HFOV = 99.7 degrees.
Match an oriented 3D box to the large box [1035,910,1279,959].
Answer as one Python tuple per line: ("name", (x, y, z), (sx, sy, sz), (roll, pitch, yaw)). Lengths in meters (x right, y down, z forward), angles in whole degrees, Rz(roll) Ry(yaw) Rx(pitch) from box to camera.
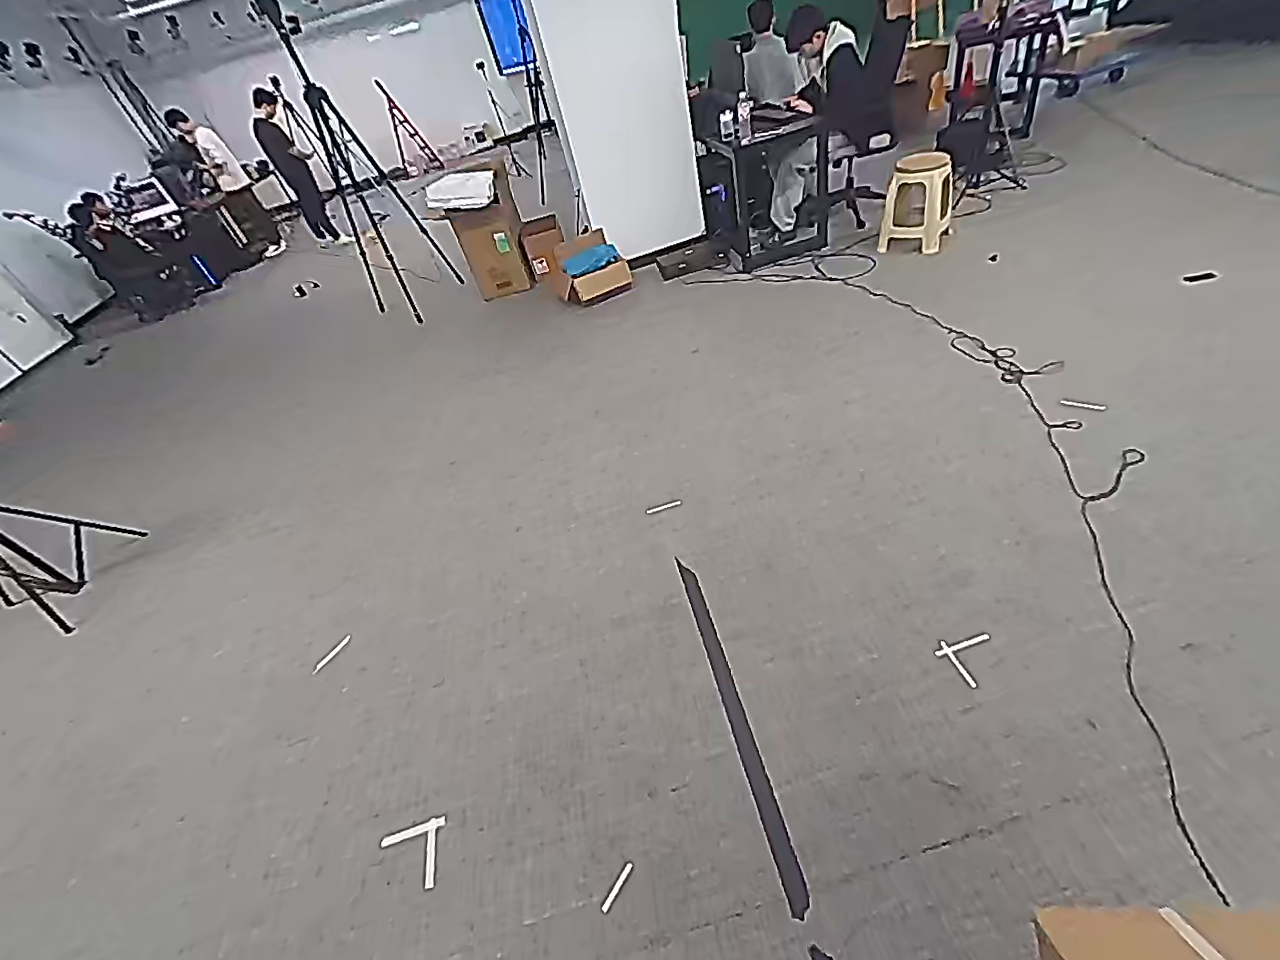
("large box", (0.654, 0.699, 0.495), (0.320, 0.408, 0.320), (-10, 84, 12))
